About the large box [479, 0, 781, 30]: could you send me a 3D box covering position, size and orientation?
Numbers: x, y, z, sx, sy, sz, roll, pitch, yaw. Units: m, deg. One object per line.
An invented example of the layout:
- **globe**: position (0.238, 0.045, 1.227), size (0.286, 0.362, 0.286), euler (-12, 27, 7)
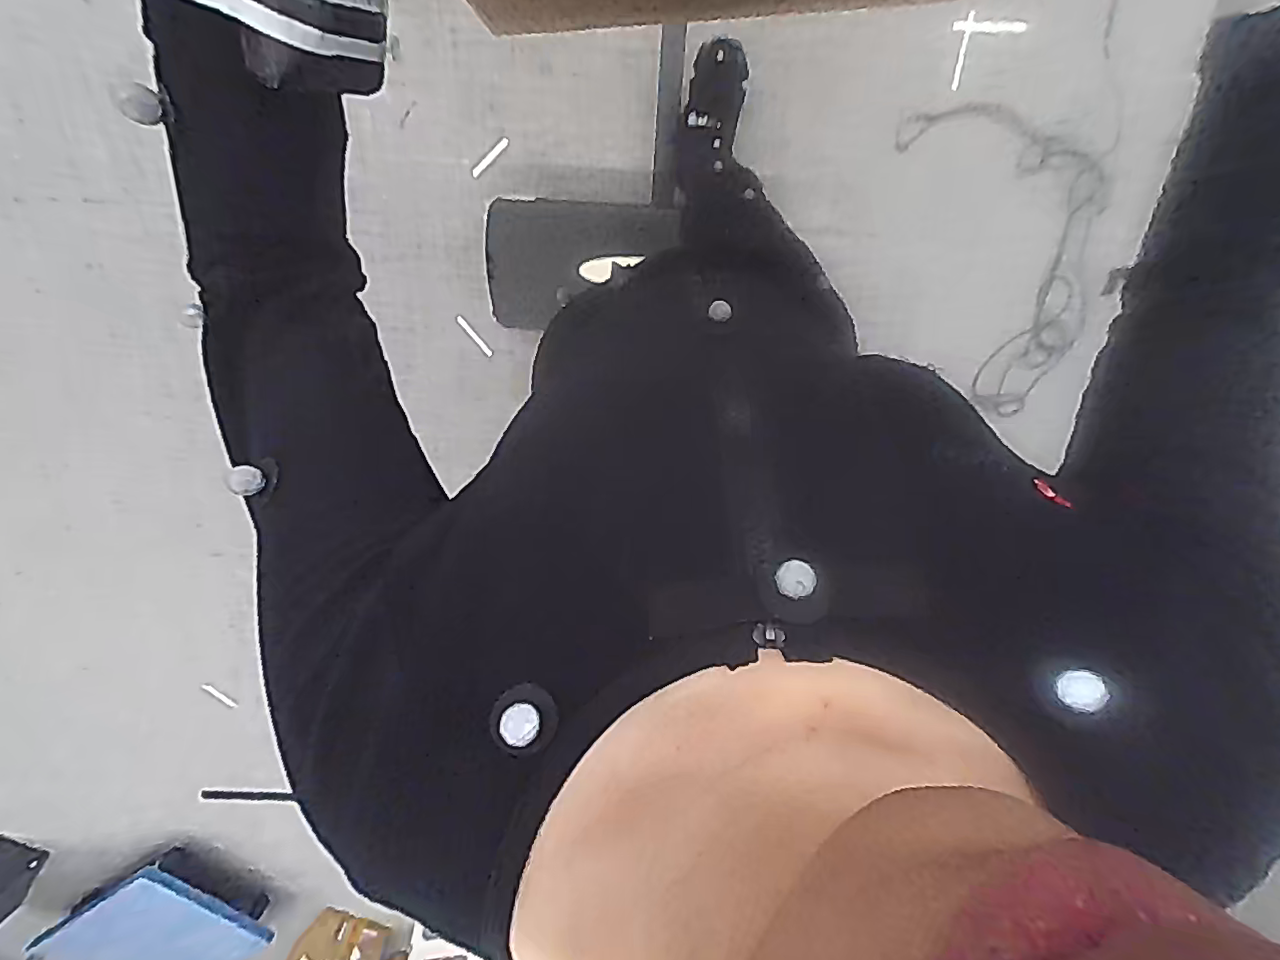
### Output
- **large box**: position (0.063, -0.474, 0.262), size (0.408, 0.320, 0.320), euler (-5, 117, 0)
